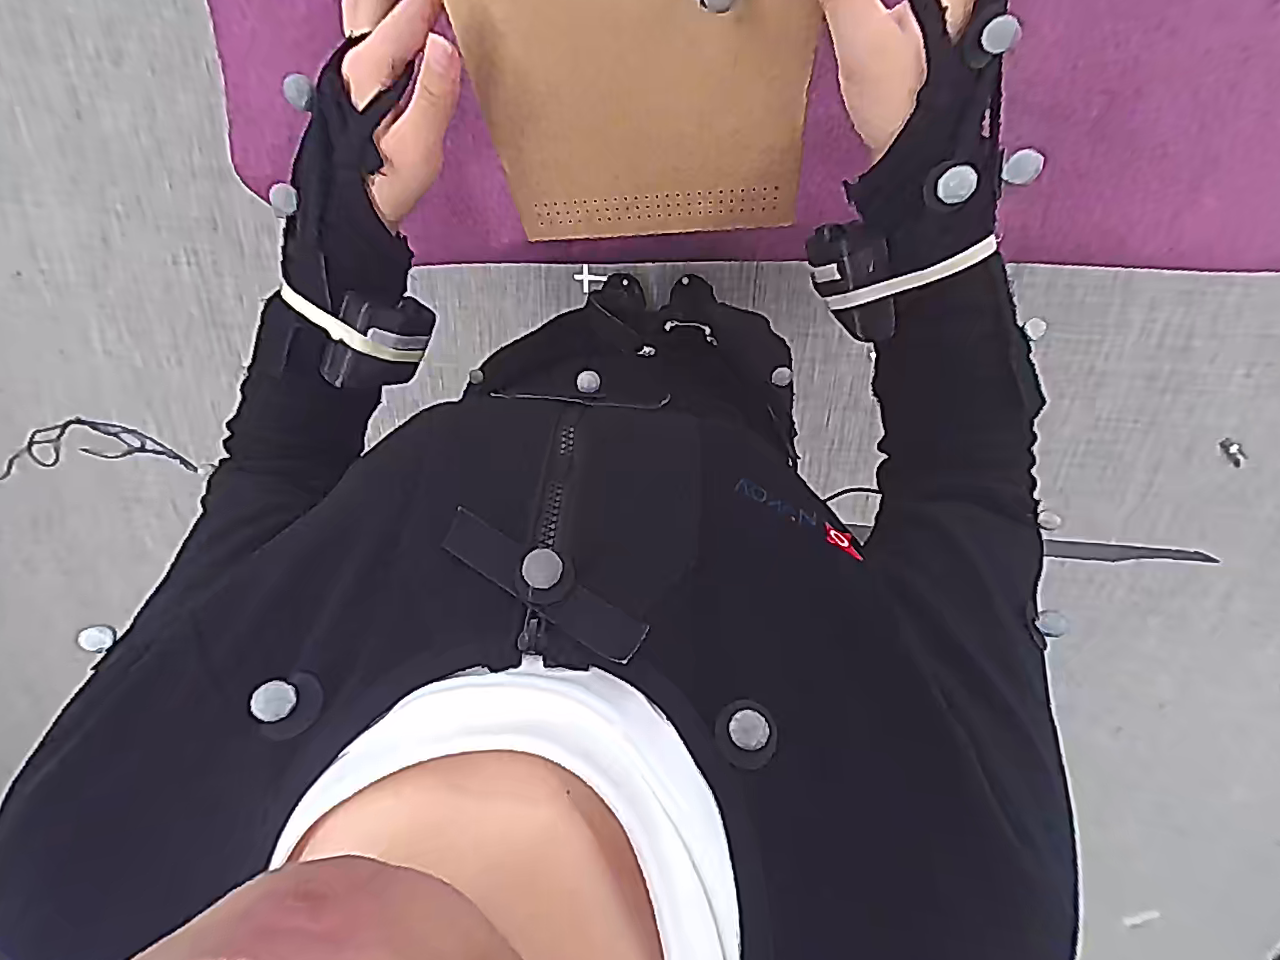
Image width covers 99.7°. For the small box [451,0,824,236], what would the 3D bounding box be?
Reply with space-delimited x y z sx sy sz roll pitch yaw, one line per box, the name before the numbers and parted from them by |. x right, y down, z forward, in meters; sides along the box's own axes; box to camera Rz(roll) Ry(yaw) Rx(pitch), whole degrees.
small box | 0.010 -0.269 0.318 0.179 0.168 0.176 1 150 9
